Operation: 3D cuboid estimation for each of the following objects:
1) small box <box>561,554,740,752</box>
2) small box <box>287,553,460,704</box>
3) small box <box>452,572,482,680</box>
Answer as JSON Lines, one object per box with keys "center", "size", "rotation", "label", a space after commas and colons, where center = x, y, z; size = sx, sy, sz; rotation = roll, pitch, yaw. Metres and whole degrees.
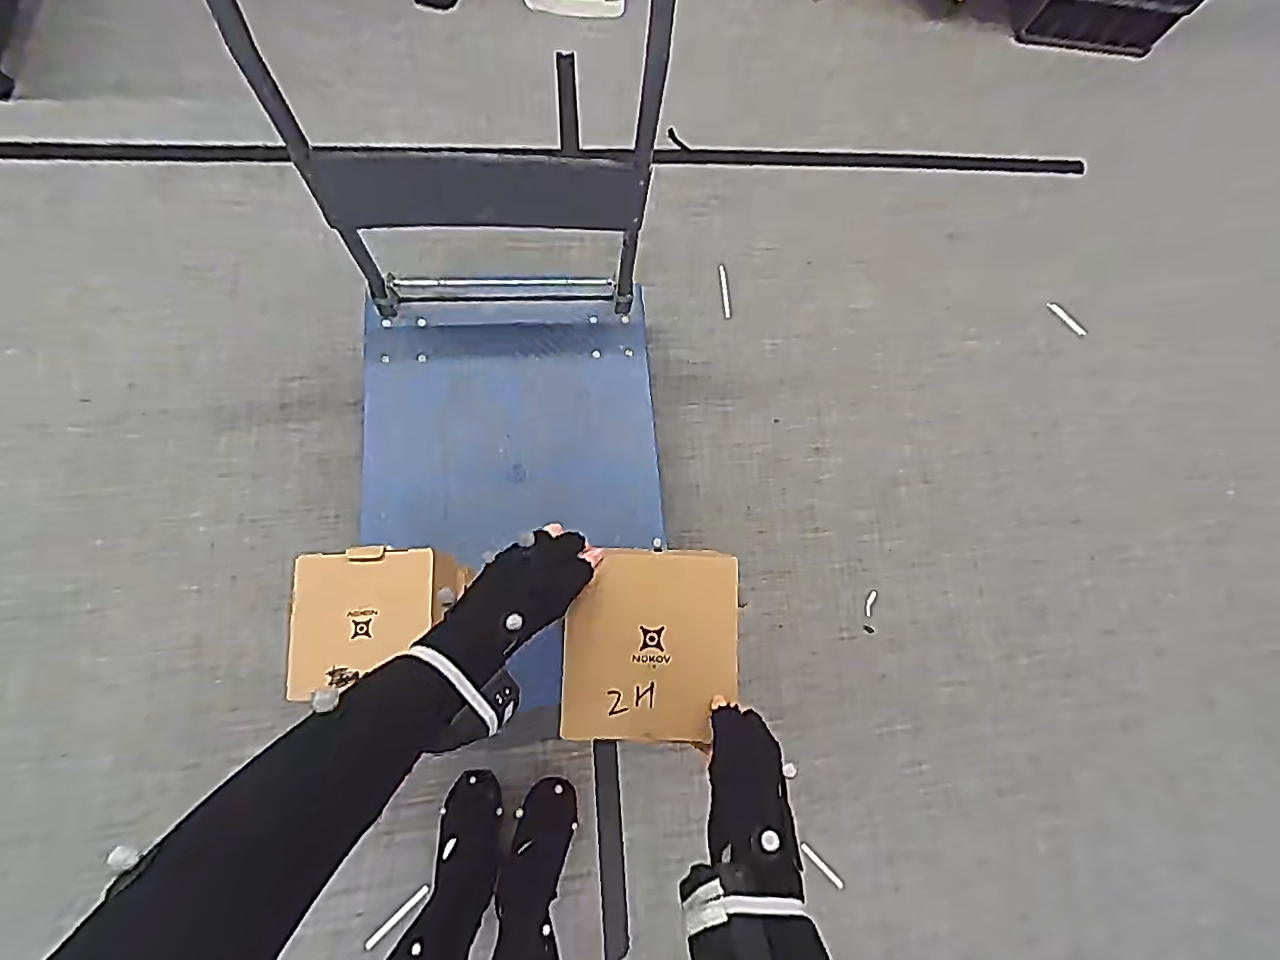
{"center": [0.011, 0.173, 0.591], "size": [0.168, 0.176, 0.179], "rotation": [2, 84, 1], "label": "small box"}
{"center": [-0.349, 0.199, 0.743], "size": [0.168, 0.176, 0.179], "rotation": [-1, 76, -8], "label": "small box"}
{"center": [-0.366, 0.238, 0.903], "size": [0.179, 0.176, 0.168], "rotation": [1, 76, -7], "label": "small box"}
